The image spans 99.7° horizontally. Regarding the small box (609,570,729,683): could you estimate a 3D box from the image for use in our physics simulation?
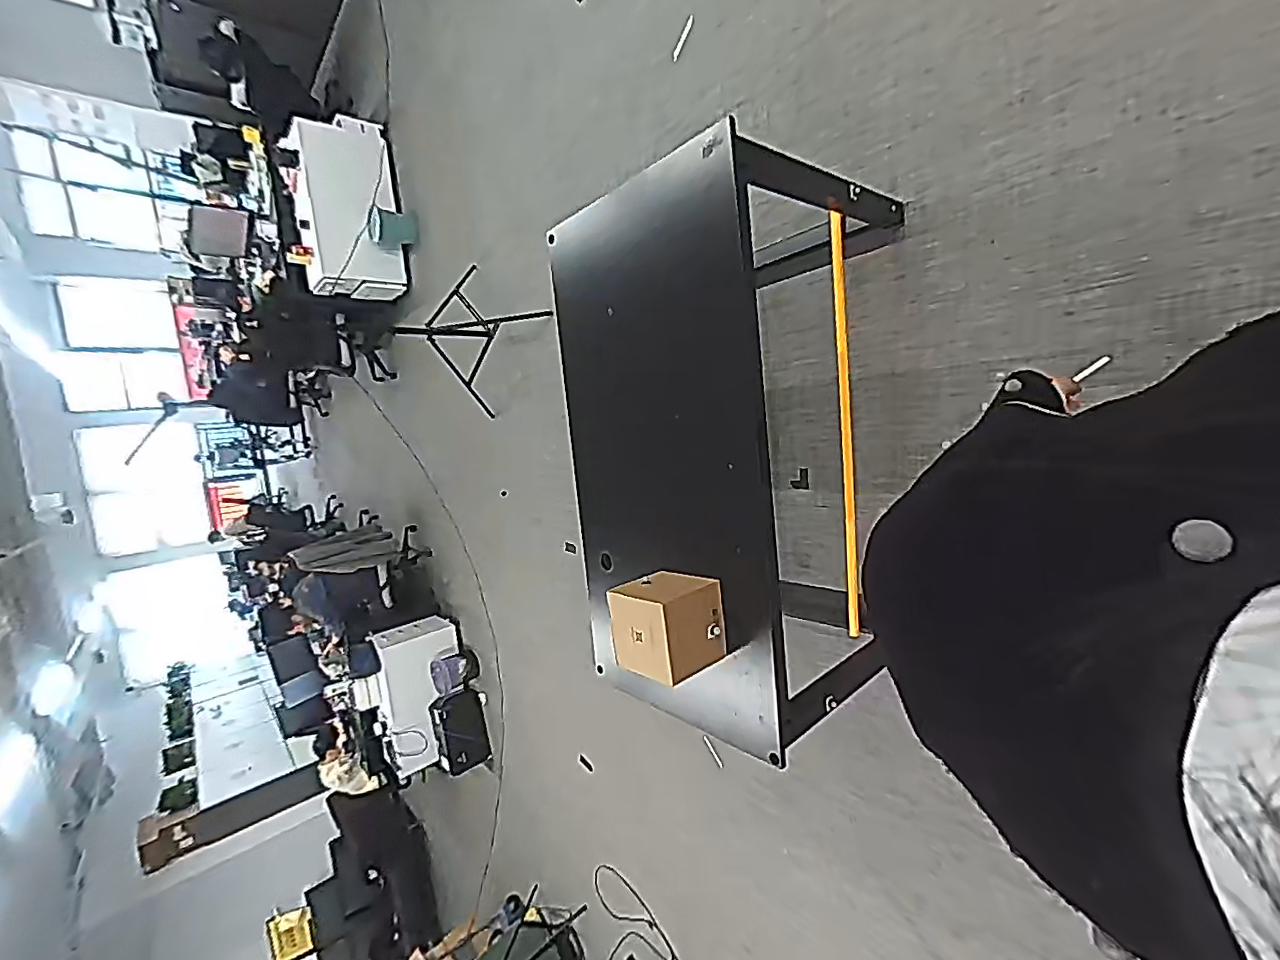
[{"bbox_3d":[0.060,0.292,1.125,0.179,0.176,0.168,-3,97,49],"label":"small box"}]
